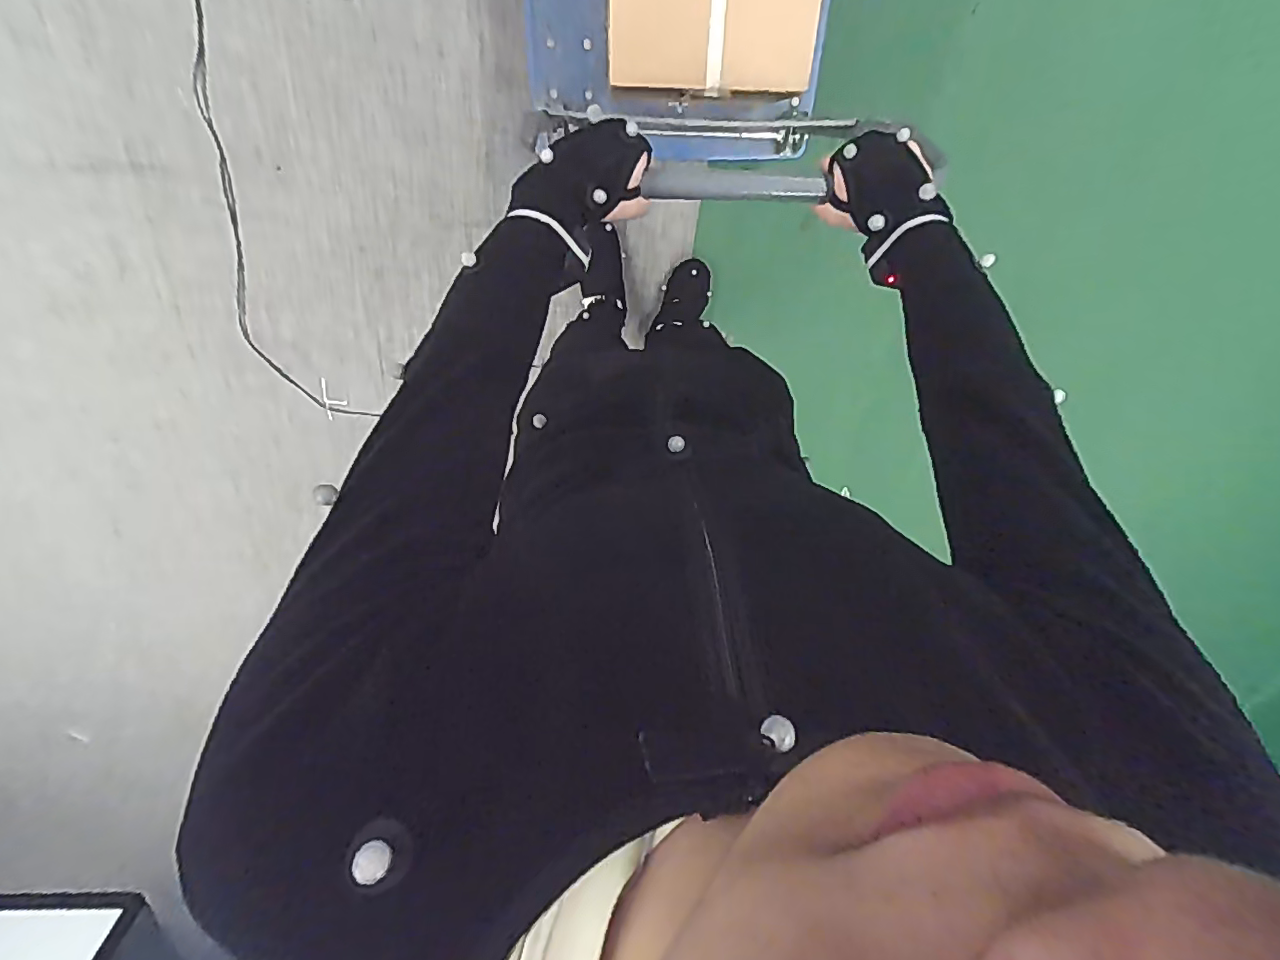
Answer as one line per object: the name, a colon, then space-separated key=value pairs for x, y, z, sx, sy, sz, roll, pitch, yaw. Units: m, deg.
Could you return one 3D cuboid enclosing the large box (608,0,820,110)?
large box: x=0.105 y=-0.851 z=0.873 sx=0.320 sy=0.320 sz=0.408 roll=-1 pitch=120 yaw=-4
